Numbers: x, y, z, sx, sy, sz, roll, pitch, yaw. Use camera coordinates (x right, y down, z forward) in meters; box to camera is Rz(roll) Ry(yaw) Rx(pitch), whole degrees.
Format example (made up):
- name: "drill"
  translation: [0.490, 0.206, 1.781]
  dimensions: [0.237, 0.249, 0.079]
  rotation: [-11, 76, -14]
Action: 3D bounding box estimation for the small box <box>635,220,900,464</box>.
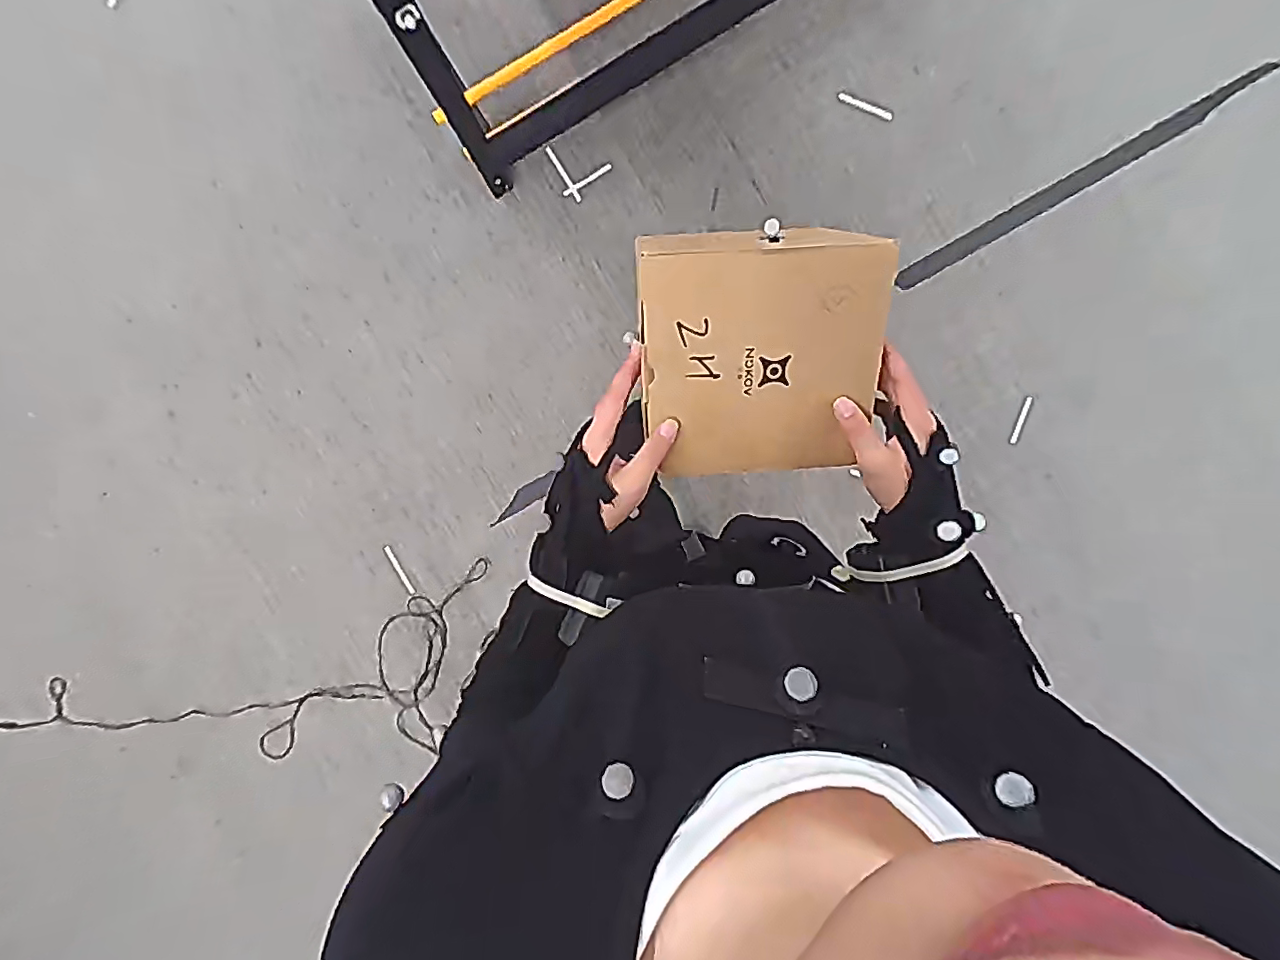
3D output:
- name: "small box"
  translation: [0.087, -0.126, 0.463]
  dimensions: [0.179, 0.176, 0.168]
  rotation: [-2, 118, 1]
